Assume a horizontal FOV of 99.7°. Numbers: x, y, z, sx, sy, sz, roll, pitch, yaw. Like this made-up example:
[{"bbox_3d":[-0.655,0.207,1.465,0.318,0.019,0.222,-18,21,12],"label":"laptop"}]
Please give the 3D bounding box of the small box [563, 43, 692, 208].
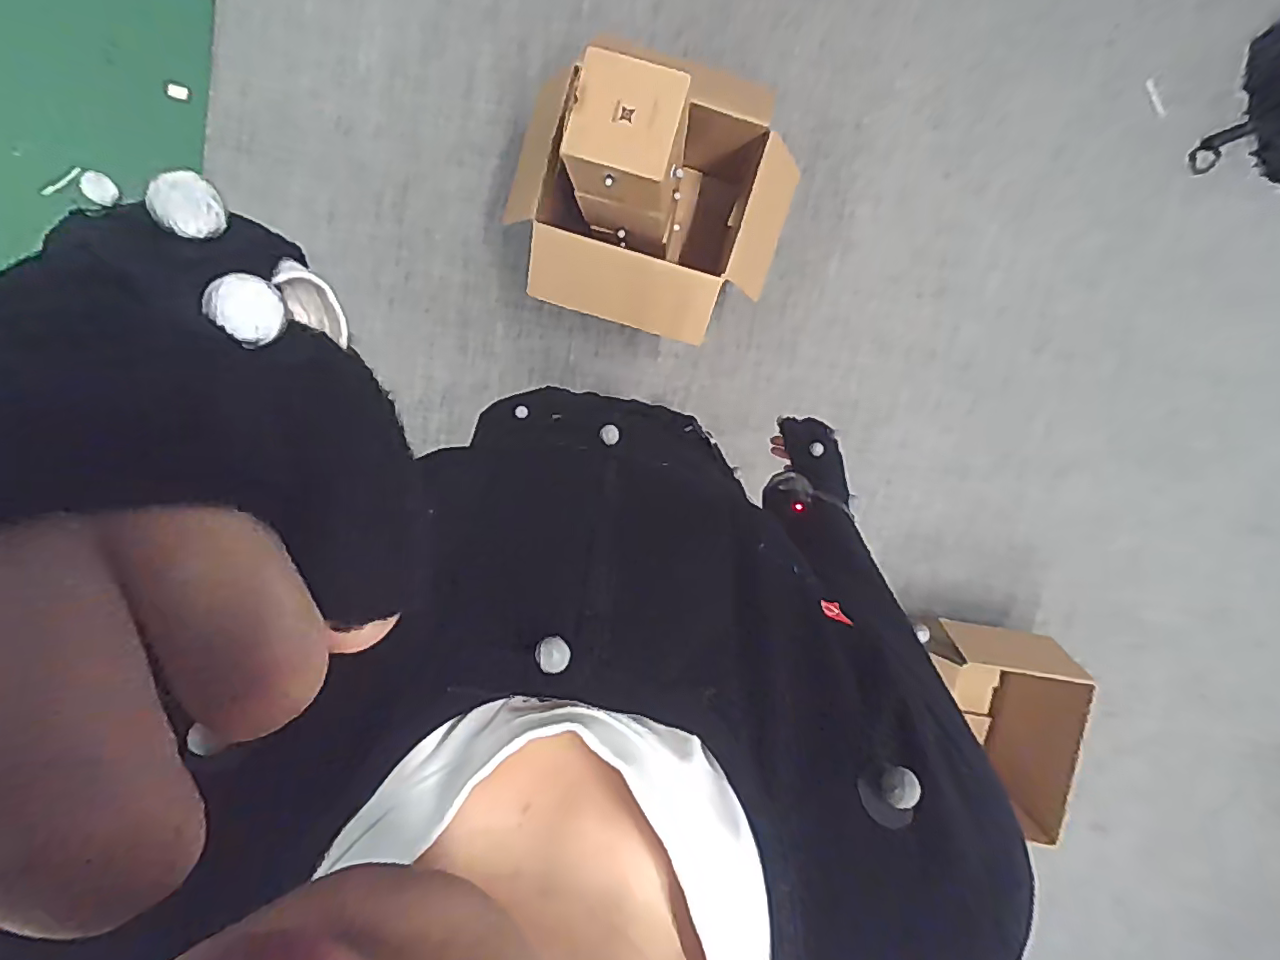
[{"bbox_3d":[-0.018,-0.602,0.942,0.179,0.176,0.168,15,99,0],"label":"small box"}]
